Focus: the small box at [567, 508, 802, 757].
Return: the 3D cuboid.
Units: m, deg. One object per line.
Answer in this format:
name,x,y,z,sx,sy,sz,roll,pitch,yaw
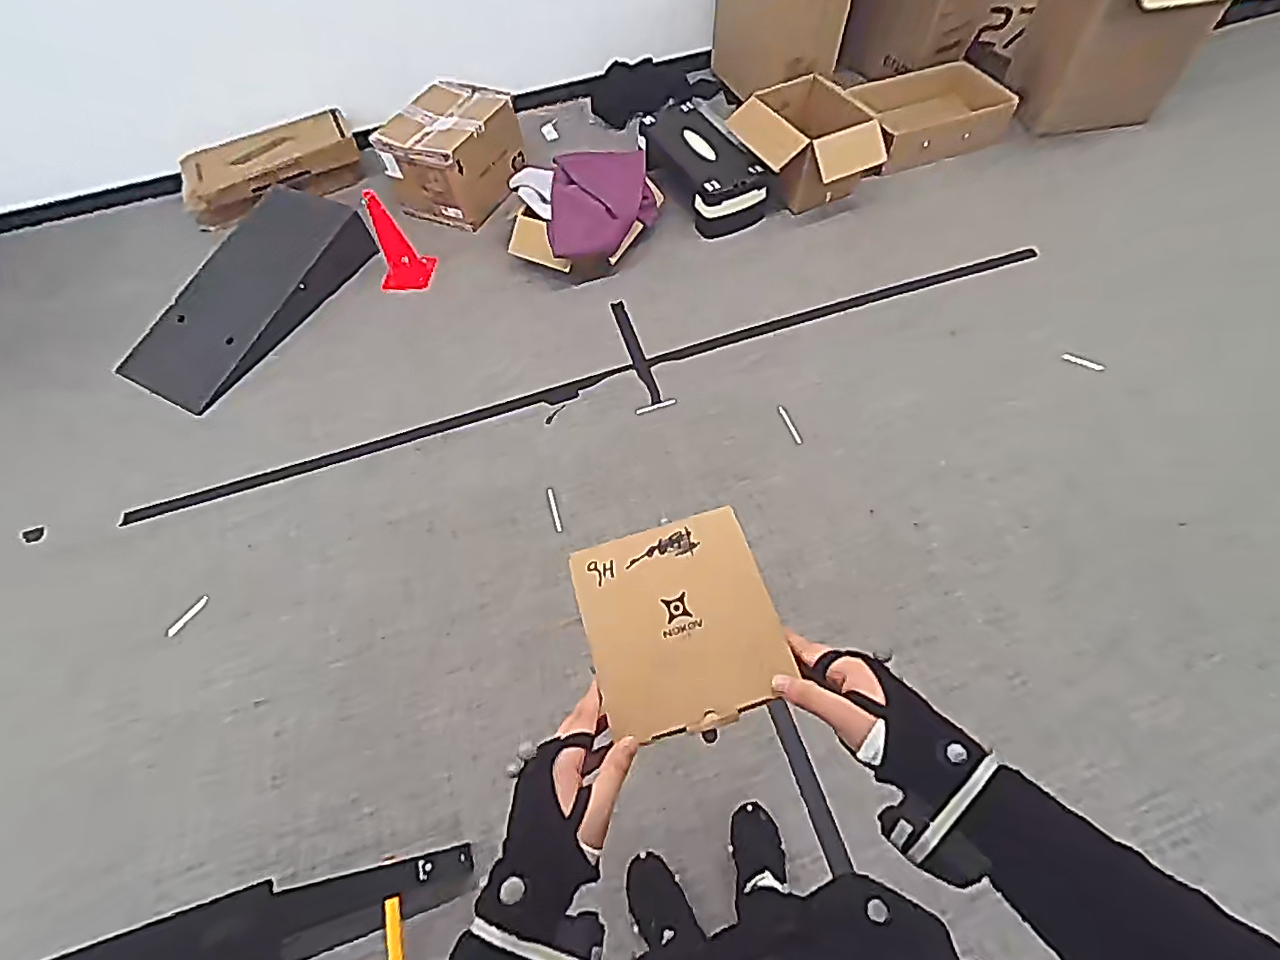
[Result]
small box,0.039,0.153,0.541,0.168,0.176,0.179,-17,66,-4
